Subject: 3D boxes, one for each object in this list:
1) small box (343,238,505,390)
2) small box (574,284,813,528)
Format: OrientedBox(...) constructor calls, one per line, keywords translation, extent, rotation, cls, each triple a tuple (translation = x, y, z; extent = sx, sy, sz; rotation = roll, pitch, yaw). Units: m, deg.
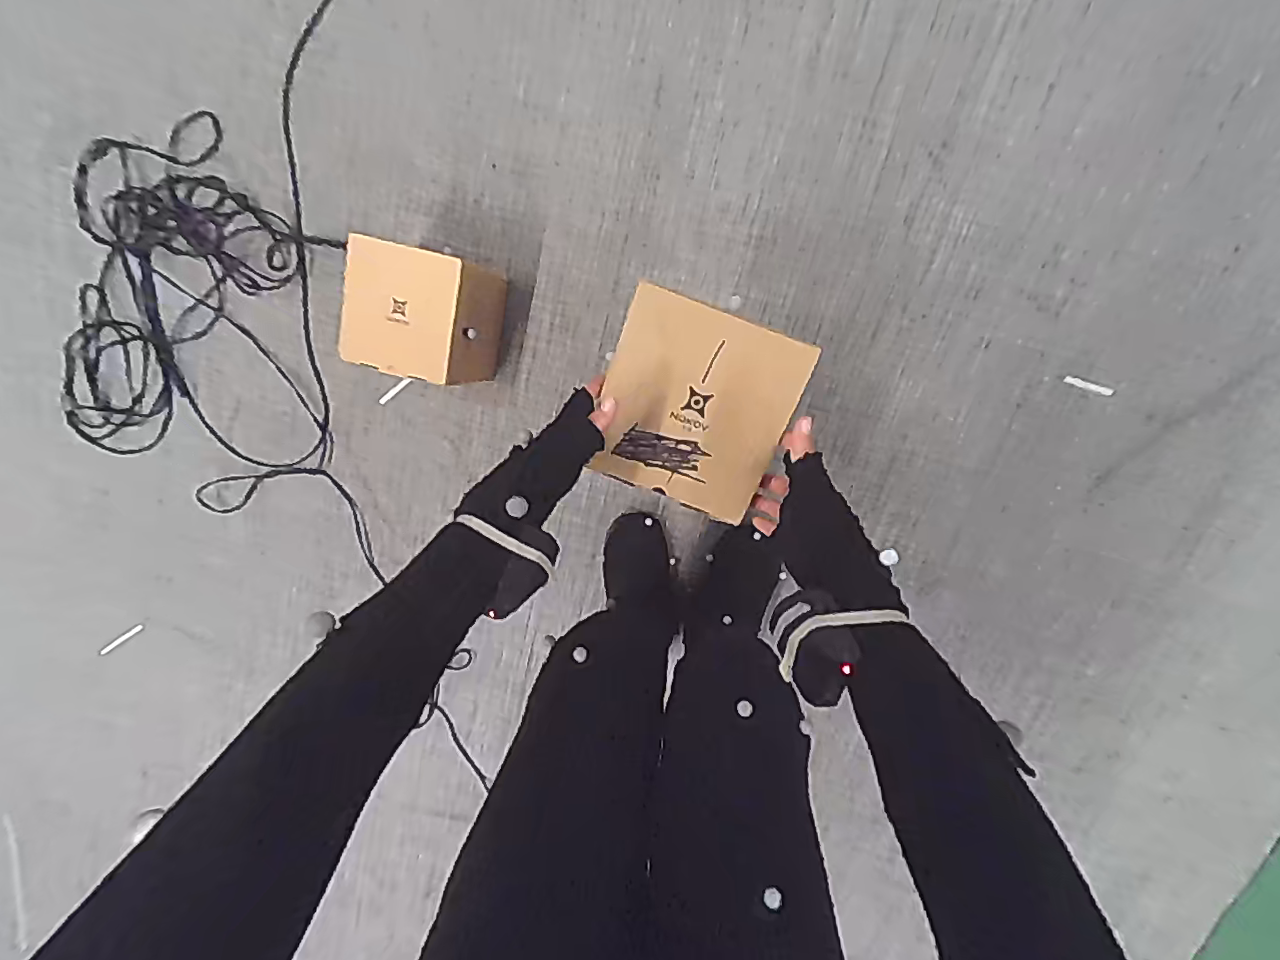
OrientedBox(translation=(-0.322, -0.249, 0.833), extent=(0.168, 0.176, 0.179), rotation=(15, 106, 5), cls="small box")
OrientedBox(translation=(0.051, -0.083, 0.552), extent=(0.168, 0.176, 0.179), rotation=(21, 109, -1), cls="small box")
